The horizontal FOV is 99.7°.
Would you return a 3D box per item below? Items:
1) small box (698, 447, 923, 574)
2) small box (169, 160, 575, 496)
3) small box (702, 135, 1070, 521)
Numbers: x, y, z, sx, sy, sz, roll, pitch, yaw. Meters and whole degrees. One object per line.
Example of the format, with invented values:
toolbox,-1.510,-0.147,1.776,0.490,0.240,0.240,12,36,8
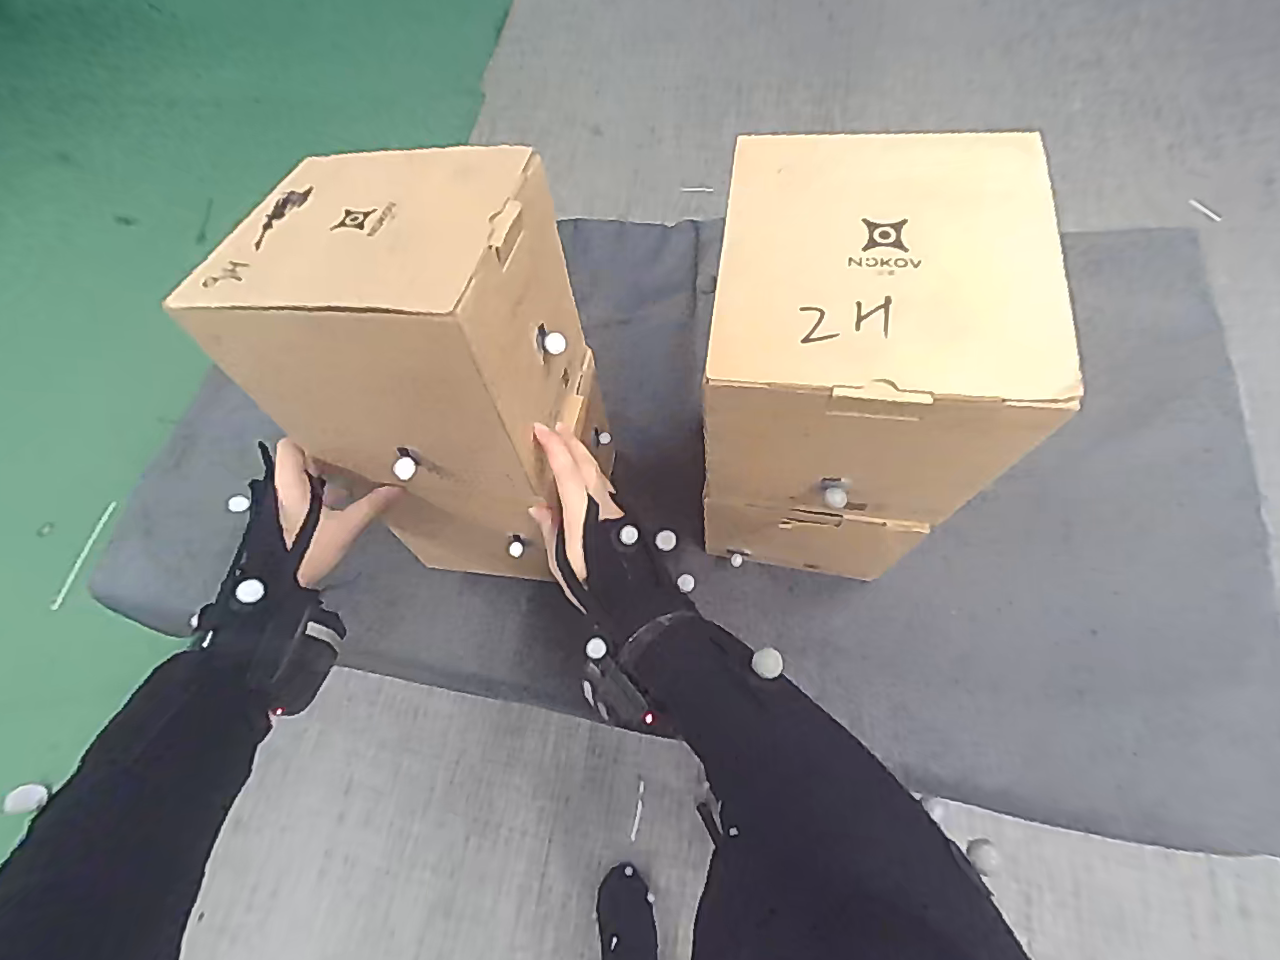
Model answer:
small box,0.152,-0.022,0.505,0.168,0.176,0.179,8,68,11
small box,-0.156,-0.102,0.392,0.179,0.176,0.168,5,56,9
small box,0.133,-0.088,0.355,0.168,0.176,0.179,5,69,11
